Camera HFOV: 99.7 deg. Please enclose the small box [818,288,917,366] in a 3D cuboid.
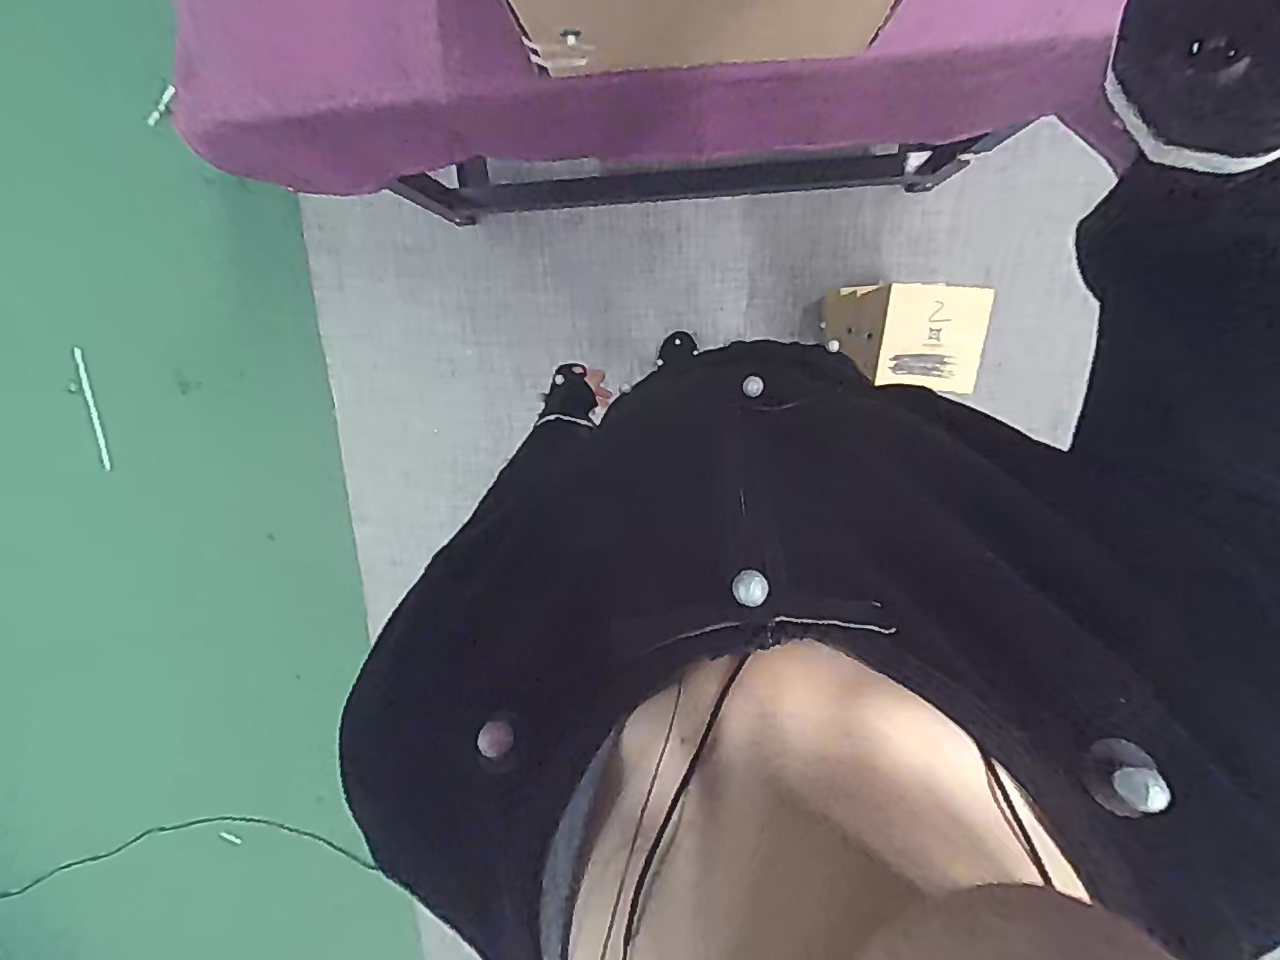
[{"bbox_3d":[0.540,-0.366,1.302,0.179,0.176,0.168,-2,103,7],"label":"small box"}]
